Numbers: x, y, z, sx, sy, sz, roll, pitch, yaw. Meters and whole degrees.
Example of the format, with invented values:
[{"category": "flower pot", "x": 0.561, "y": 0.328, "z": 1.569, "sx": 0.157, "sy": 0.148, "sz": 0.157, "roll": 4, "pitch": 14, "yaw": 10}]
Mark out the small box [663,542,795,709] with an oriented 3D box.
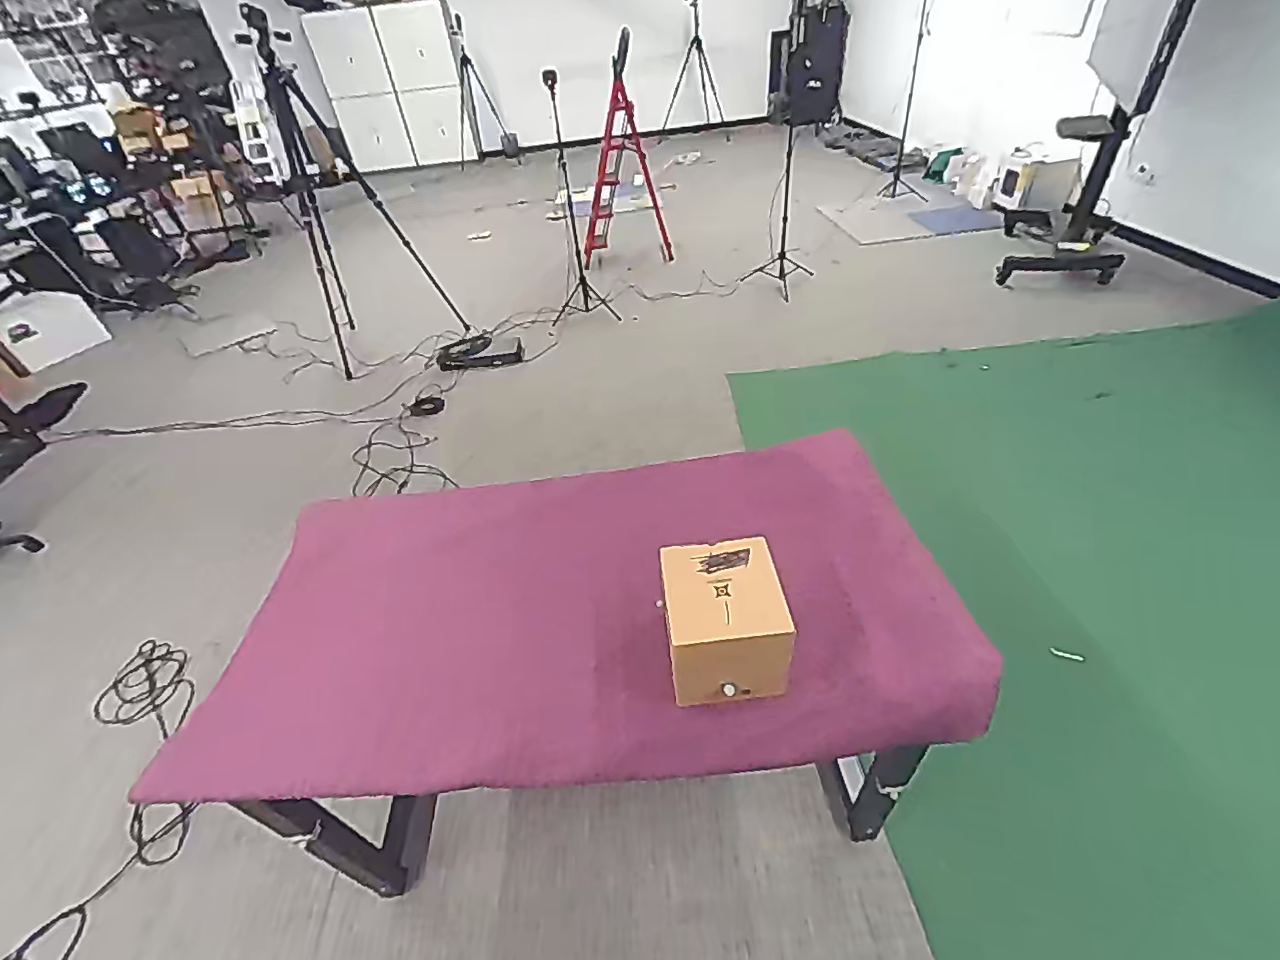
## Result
[{"category": "small box", "x": 0.125, "y": 0.220, "z": 0.823, "sx": 0.168, "sy": 0.176, "sz": 0.179, "roll": -7, "pitch": 41, "yaw": 1}]
